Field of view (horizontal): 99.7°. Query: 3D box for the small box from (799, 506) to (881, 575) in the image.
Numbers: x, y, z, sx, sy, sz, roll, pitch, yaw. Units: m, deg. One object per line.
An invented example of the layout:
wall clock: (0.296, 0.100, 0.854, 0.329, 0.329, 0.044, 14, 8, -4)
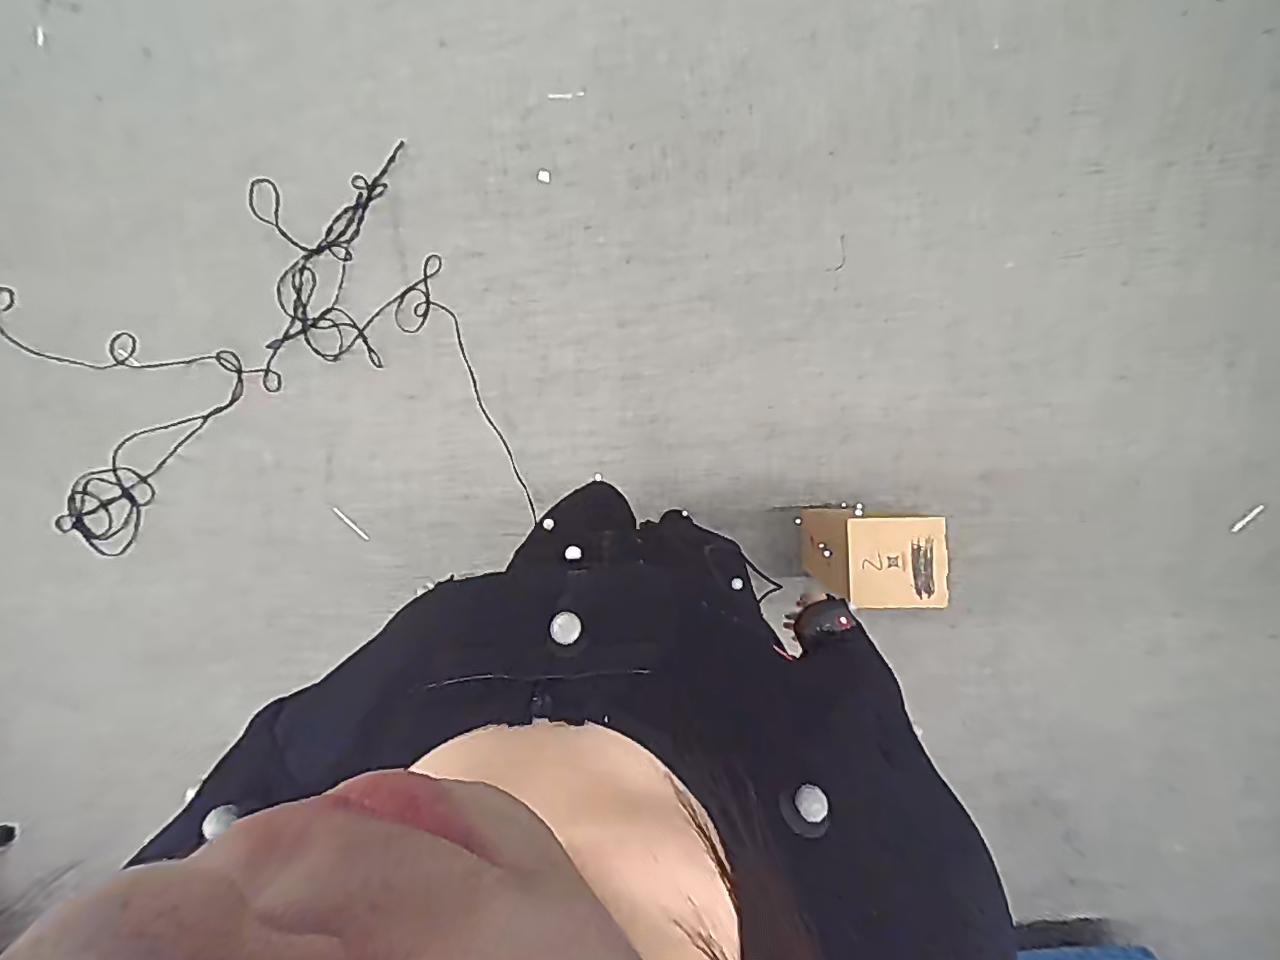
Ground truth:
small box: (0.510, 0.154, 1.388, 0.179, 0.176, 0.168, -2, 89, 4)

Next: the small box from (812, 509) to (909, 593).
small box: (0.491, 0.154, 1.224, 0.168, 0.176, 0.179, -1, 89, 5)
